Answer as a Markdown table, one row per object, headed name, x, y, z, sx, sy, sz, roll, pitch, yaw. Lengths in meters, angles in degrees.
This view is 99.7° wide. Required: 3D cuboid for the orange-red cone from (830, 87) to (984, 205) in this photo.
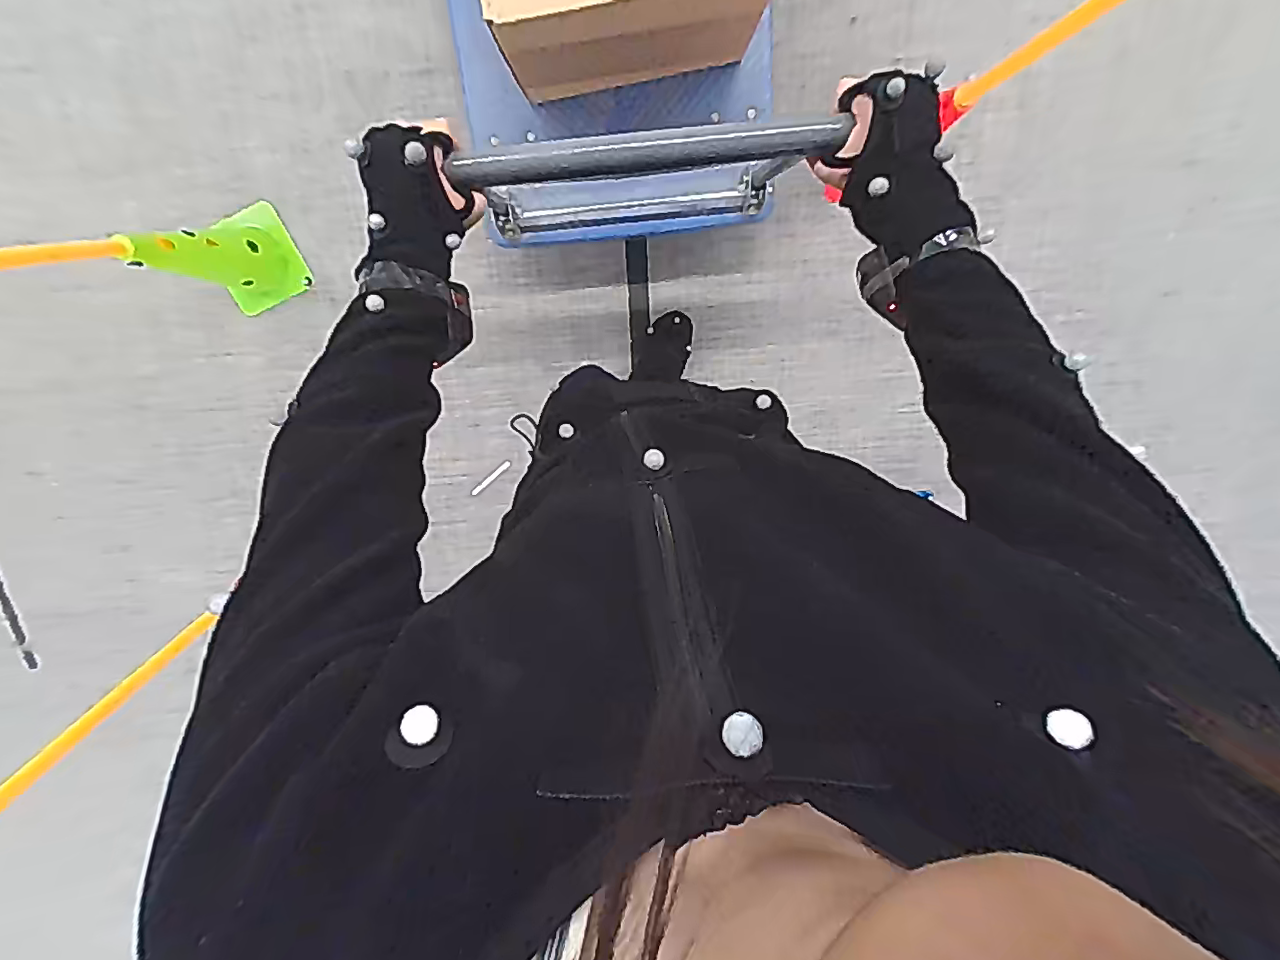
| name | x | y | z | sx | sy | sz | roll | pitch | yaw |
| --- | --- | --- | --- | --- | --- | --- | --- | --- | --- |
| orange-red cone | 0.531 | -0.665 | 1.028 | 0.199 | 0.360 | 0.198 | 2 | 109 | -2 |
